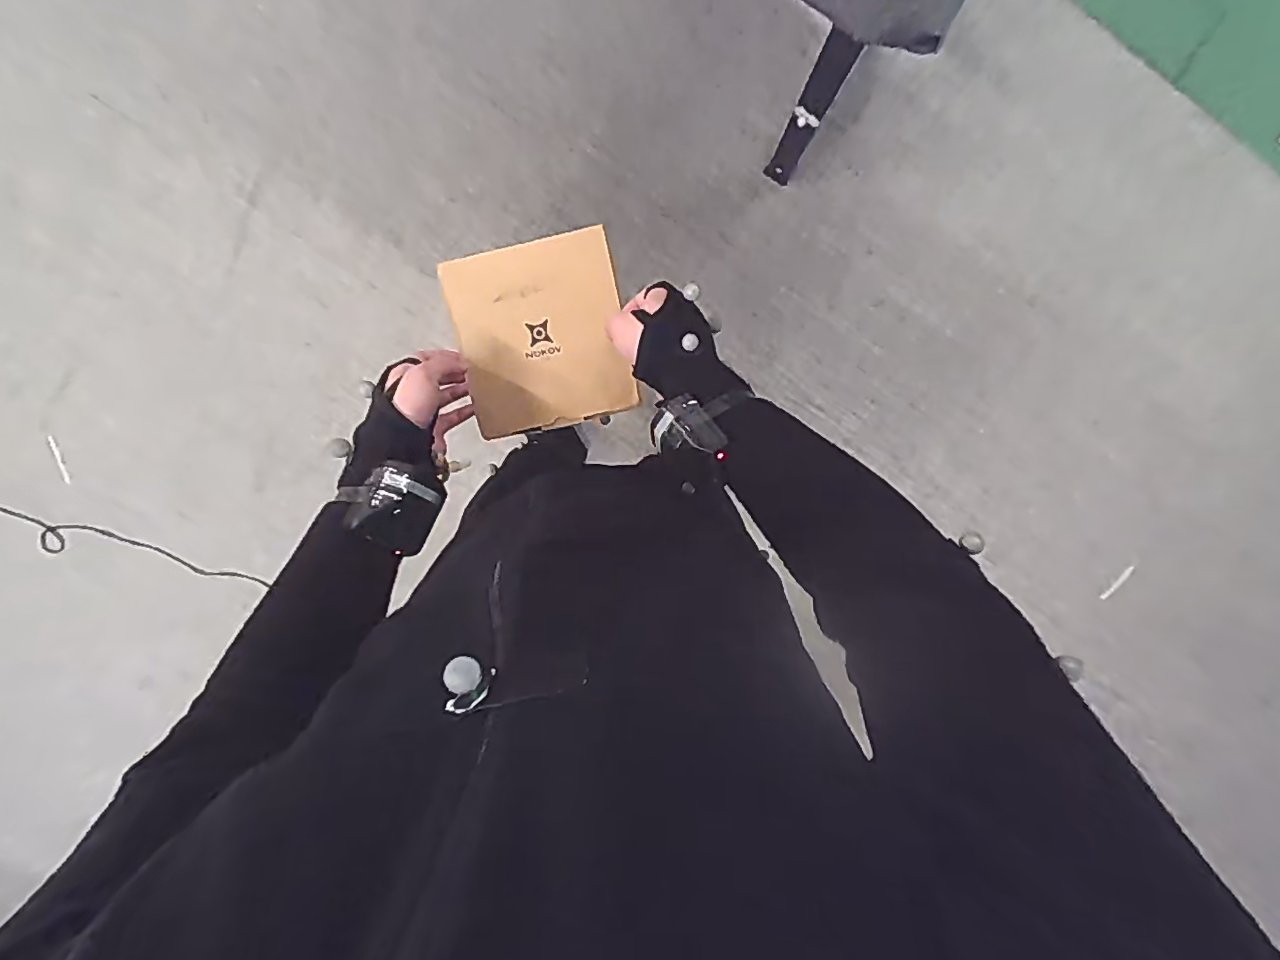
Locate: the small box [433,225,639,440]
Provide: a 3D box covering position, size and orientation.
[{"bbox_3d":[-0.097,-0.155,0.599,0.168,0.176,0.179,-12,101,3],"label":"small box"}]
